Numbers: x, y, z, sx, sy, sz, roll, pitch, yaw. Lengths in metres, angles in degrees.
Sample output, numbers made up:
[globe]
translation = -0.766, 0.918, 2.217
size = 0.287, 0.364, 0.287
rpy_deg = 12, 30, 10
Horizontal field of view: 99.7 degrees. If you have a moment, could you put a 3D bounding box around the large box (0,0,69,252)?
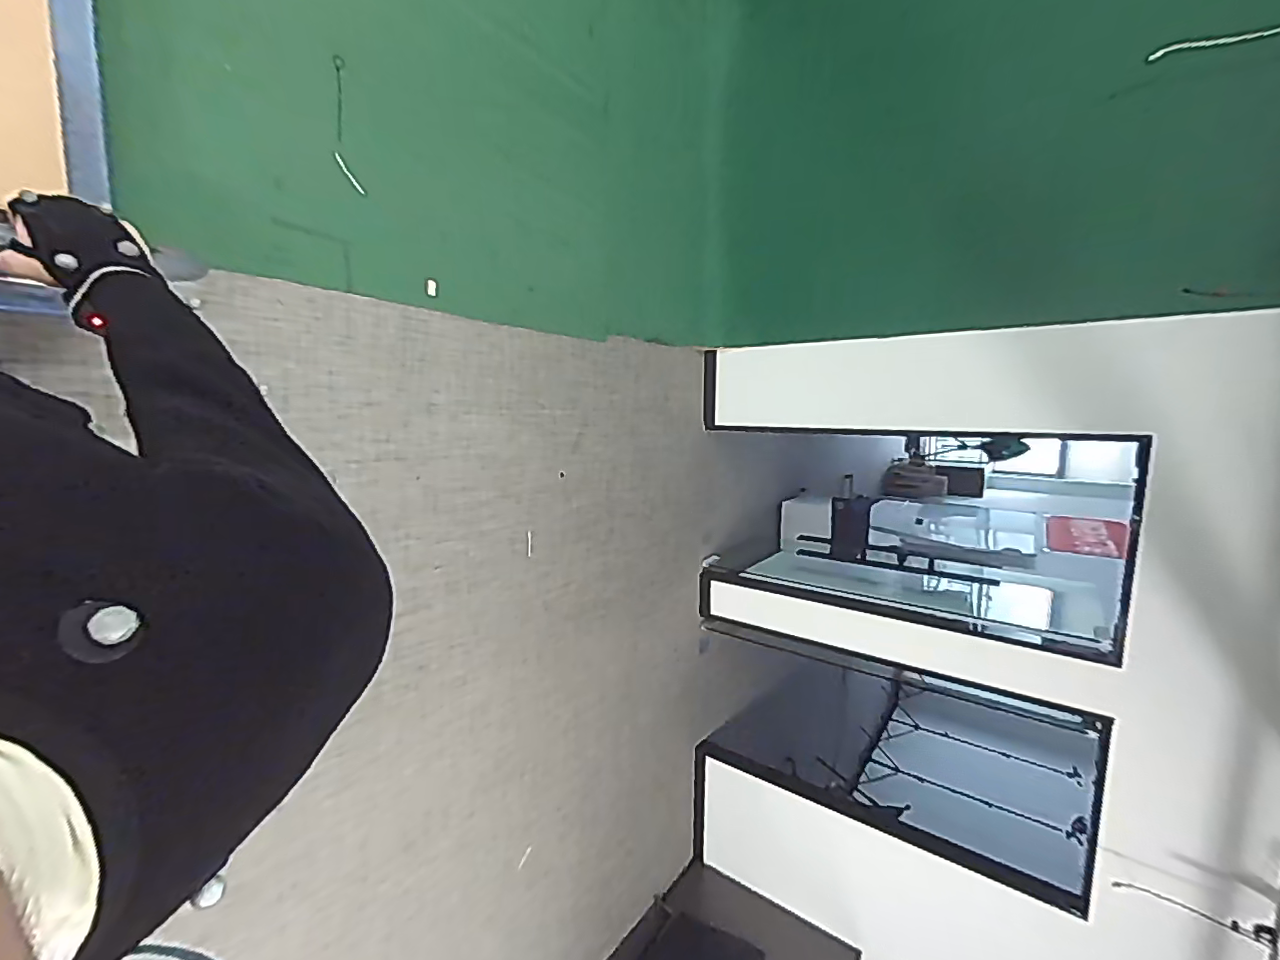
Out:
[large box]
translation = -1.076, -0.583, 0.757
size = 0.320, 0.320, 0.408
rpy_deg = -10, 101, -54
